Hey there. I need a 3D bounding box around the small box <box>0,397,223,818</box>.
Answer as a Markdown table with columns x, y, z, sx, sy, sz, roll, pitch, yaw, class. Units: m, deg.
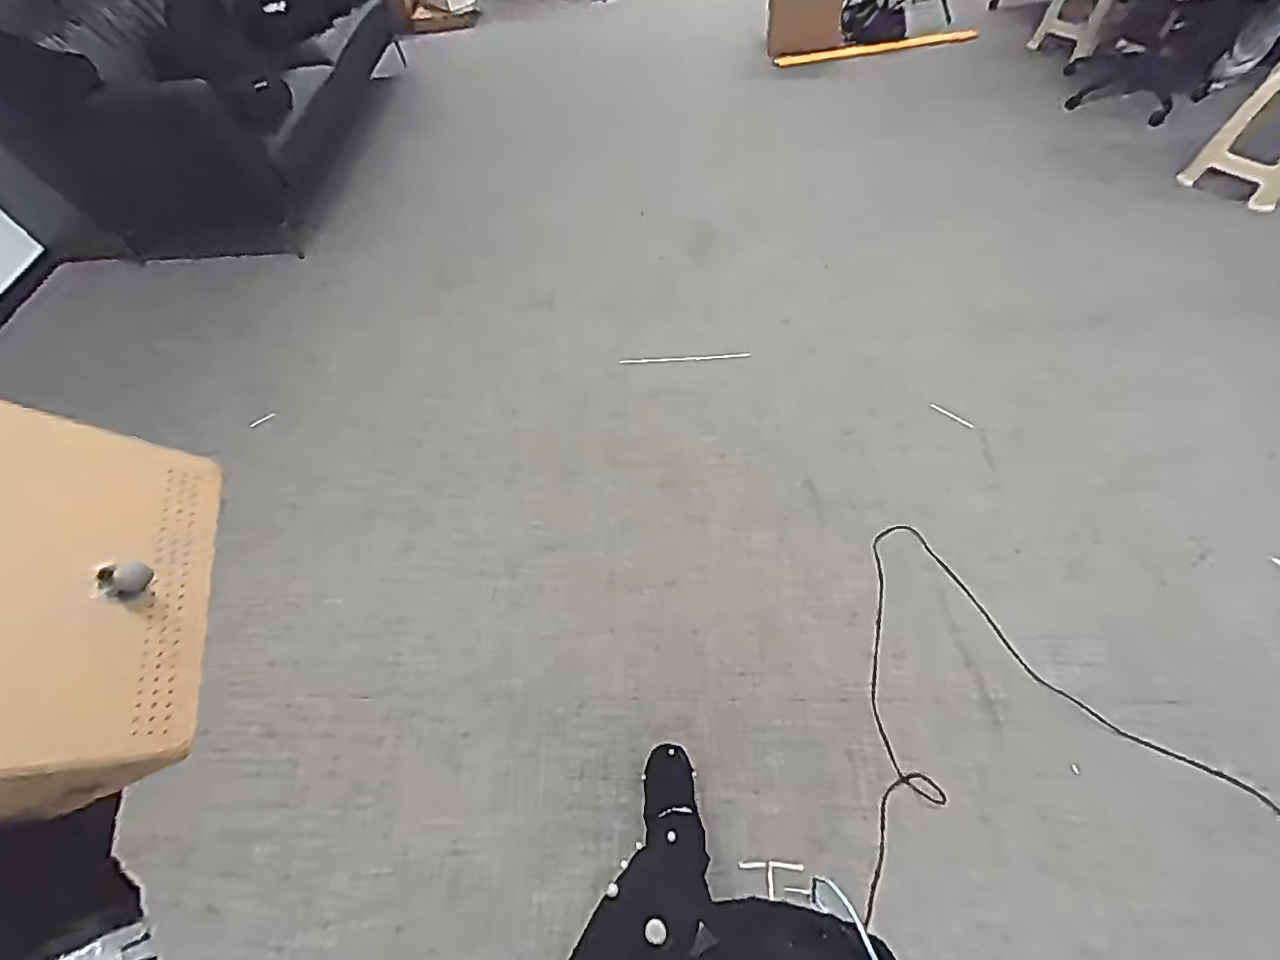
| x | y | z | sx | sy | sz | roll | pitch | yaw | class |
| --- | --- | --- | --- | --- | --- | --- | --- | --- | --- |
| -0.346 | 0.068 | 0.265 | 0.168 | 0.176 | 0.179 | -26 | 62 | 20 | small box |
